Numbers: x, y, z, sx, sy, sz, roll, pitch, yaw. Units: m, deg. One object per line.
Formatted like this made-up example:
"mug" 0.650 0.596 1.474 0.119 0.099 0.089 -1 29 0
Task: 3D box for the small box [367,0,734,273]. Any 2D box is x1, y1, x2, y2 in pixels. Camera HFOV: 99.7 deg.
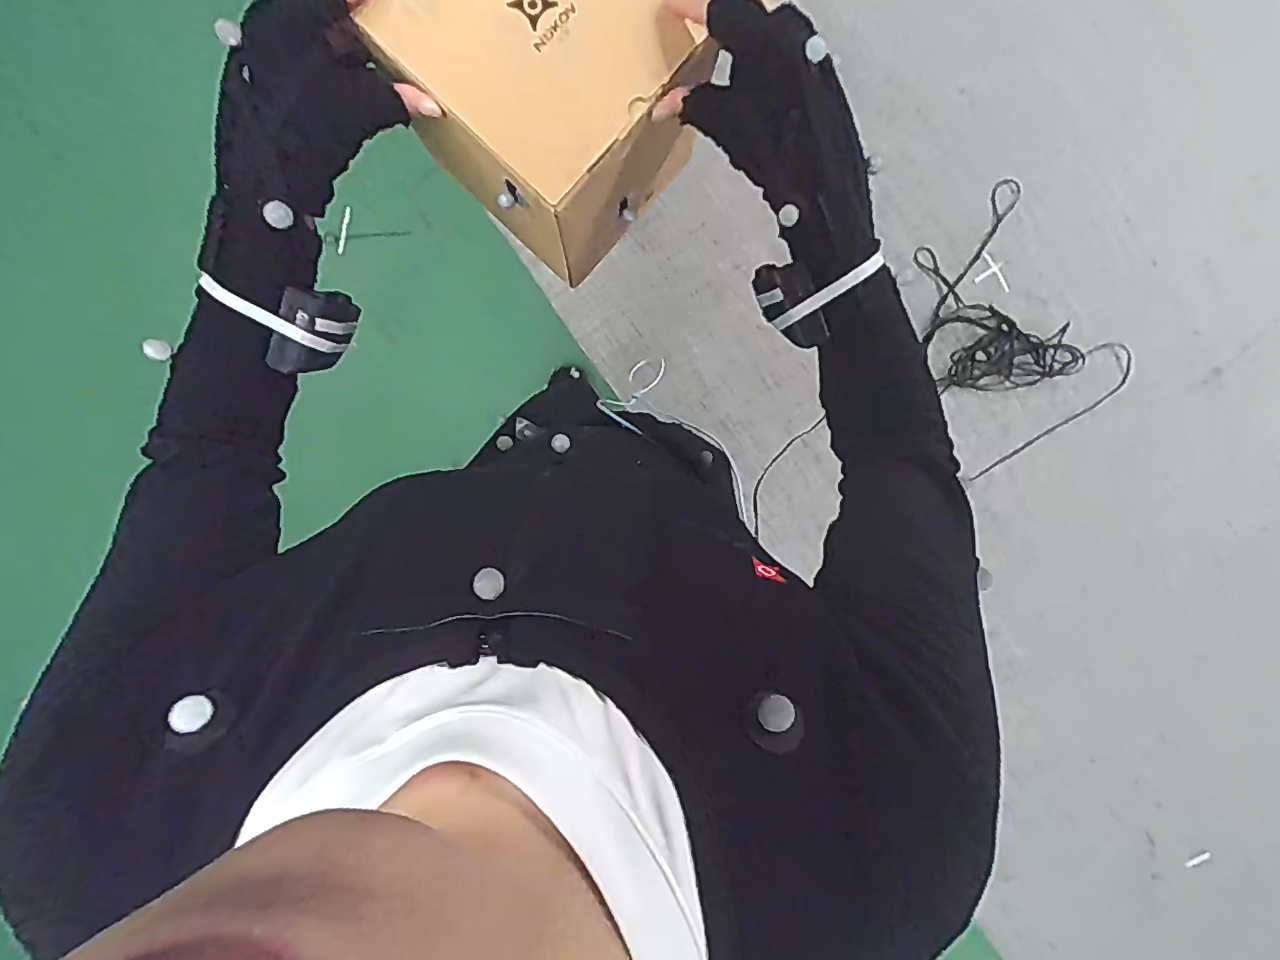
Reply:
"small box" -0.061 -0.298 0.422 0.179 0.176 0.168 43 90 -6
